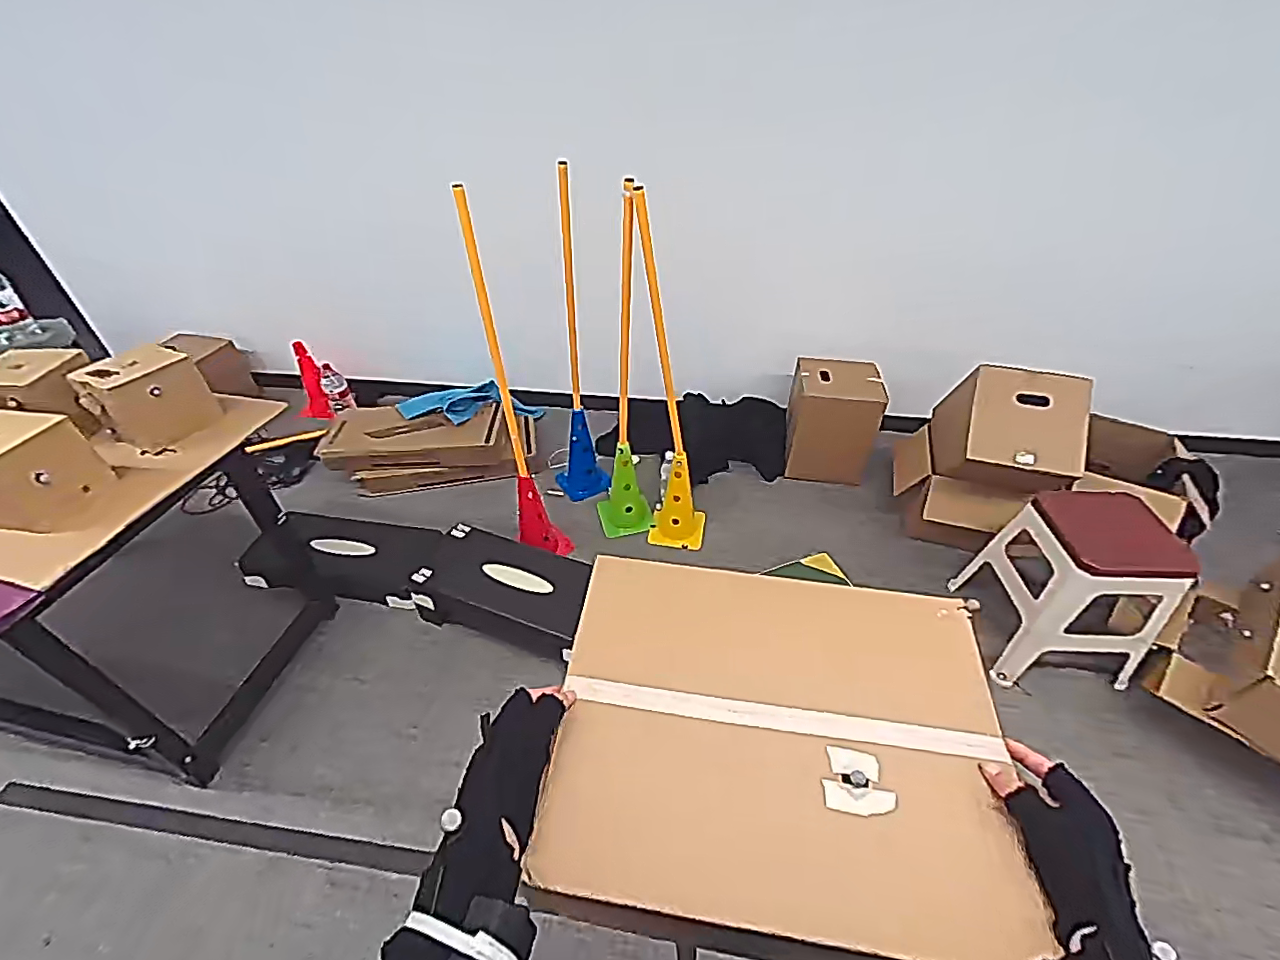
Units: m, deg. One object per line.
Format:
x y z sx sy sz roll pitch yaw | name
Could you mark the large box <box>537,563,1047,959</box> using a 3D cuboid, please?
0.130 0.328 0.629 0.408 0.320 0.320 6 48 6 | large box
